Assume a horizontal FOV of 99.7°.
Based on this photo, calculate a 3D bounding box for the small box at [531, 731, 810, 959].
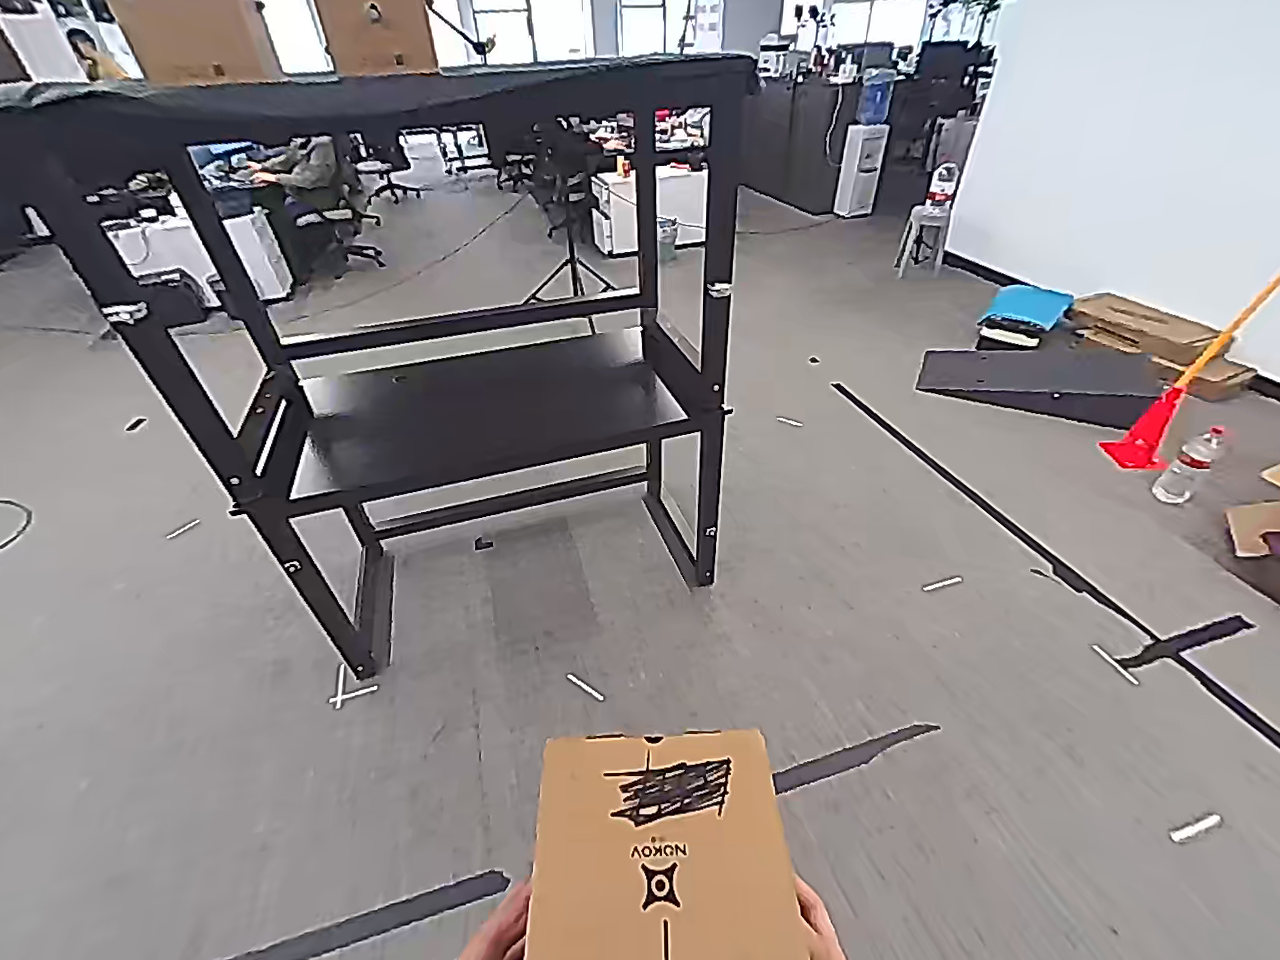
[{"bbox_3d":[0.017,0.312,0.400,0.168,0.176,0.179,-2,40,-1],"label":"small box"}]

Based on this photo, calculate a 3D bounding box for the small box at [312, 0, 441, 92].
[{"bbox_3d":[-0.442,-0.767,0.916,0.168,0.176,0.179,-12,38,-12],"label":"small box"}]
